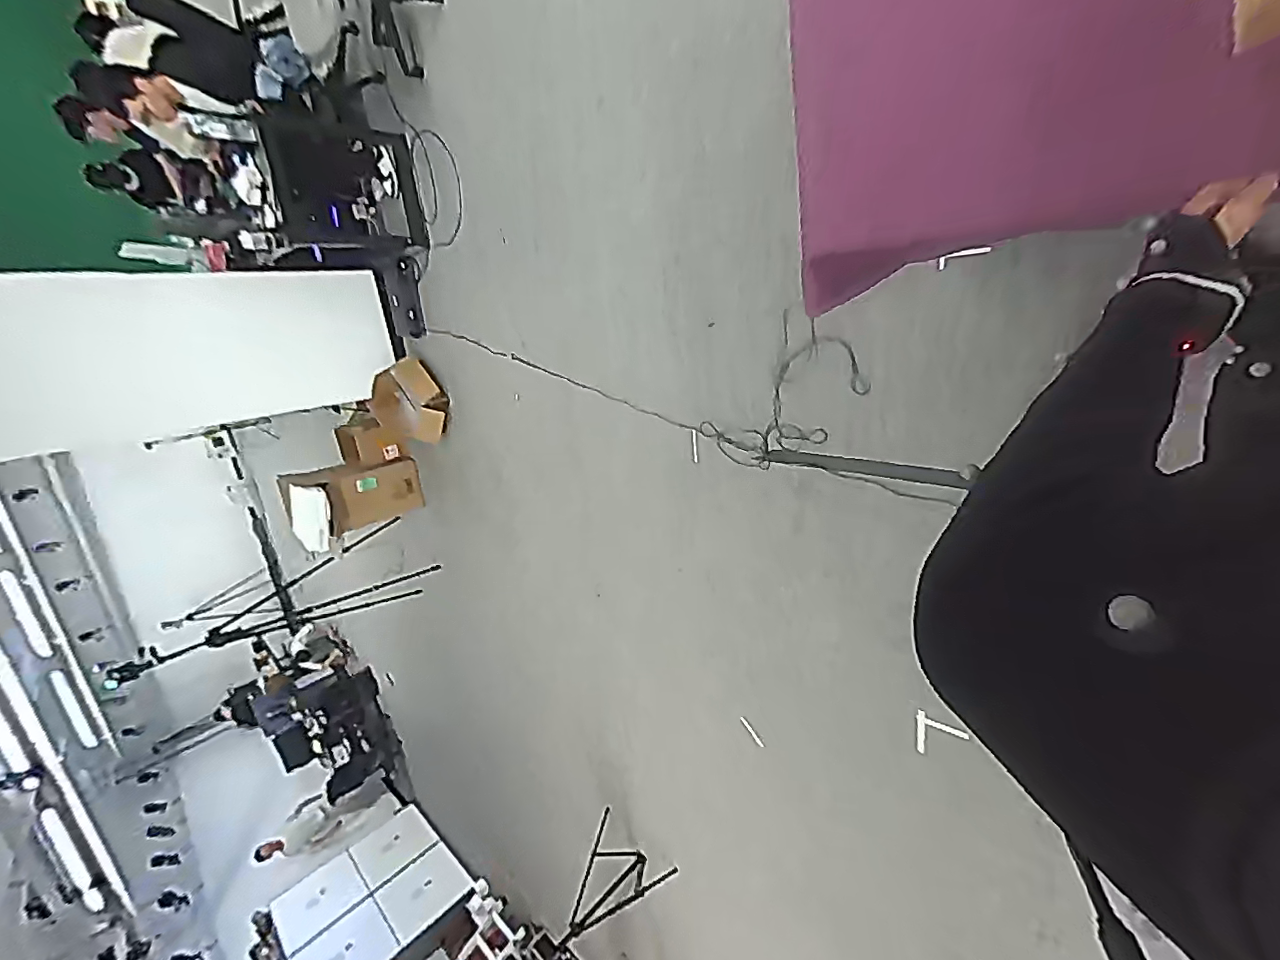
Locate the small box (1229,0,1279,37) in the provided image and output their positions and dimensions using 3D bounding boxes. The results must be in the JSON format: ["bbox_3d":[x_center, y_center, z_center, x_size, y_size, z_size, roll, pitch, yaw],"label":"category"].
[{"bbox_3d":[0.578,-0.492,0.413,0.179,0.176,0.168,-4,104,46],"label":"small box"}]
